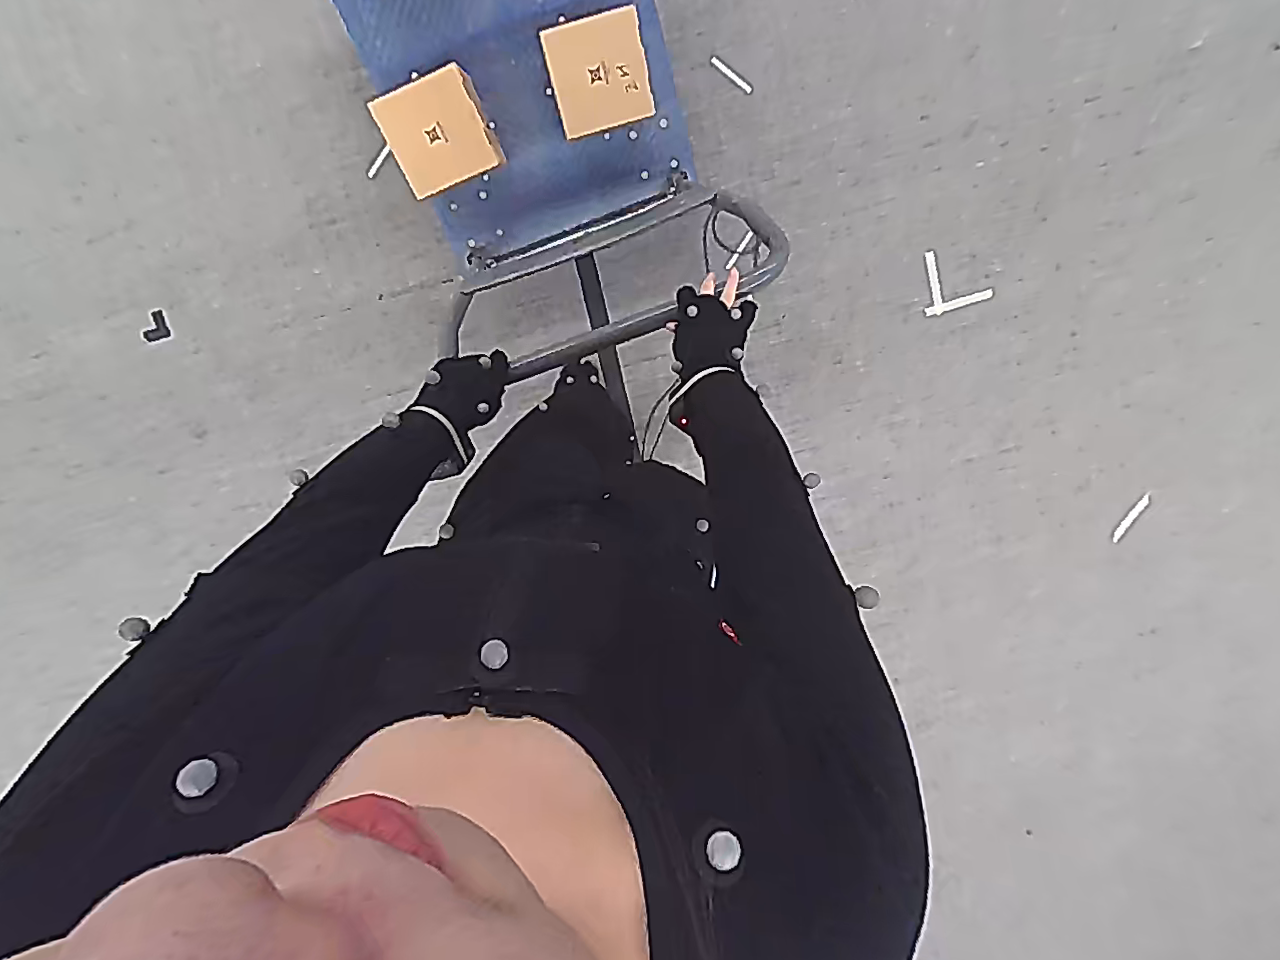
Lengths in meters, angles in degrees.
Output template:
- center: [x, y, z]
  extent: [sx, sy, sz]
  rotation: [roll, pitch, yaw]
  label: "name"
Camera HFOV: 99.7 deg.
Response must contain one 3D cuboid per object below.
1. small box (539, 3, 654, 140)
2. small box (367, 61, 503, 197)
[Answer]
- center: [-0.082, -0.770, 1.037]
  extent: [0.179, 0.176, 0.168]
  rotation: [-16, 121, 1]
  label: "small box"
- center: [-0.383, -0.670, 1.051]
  extent: [0.179, 0.176, 0.168]
  rotation: [-23, 120, 3]
  label: "small box"
